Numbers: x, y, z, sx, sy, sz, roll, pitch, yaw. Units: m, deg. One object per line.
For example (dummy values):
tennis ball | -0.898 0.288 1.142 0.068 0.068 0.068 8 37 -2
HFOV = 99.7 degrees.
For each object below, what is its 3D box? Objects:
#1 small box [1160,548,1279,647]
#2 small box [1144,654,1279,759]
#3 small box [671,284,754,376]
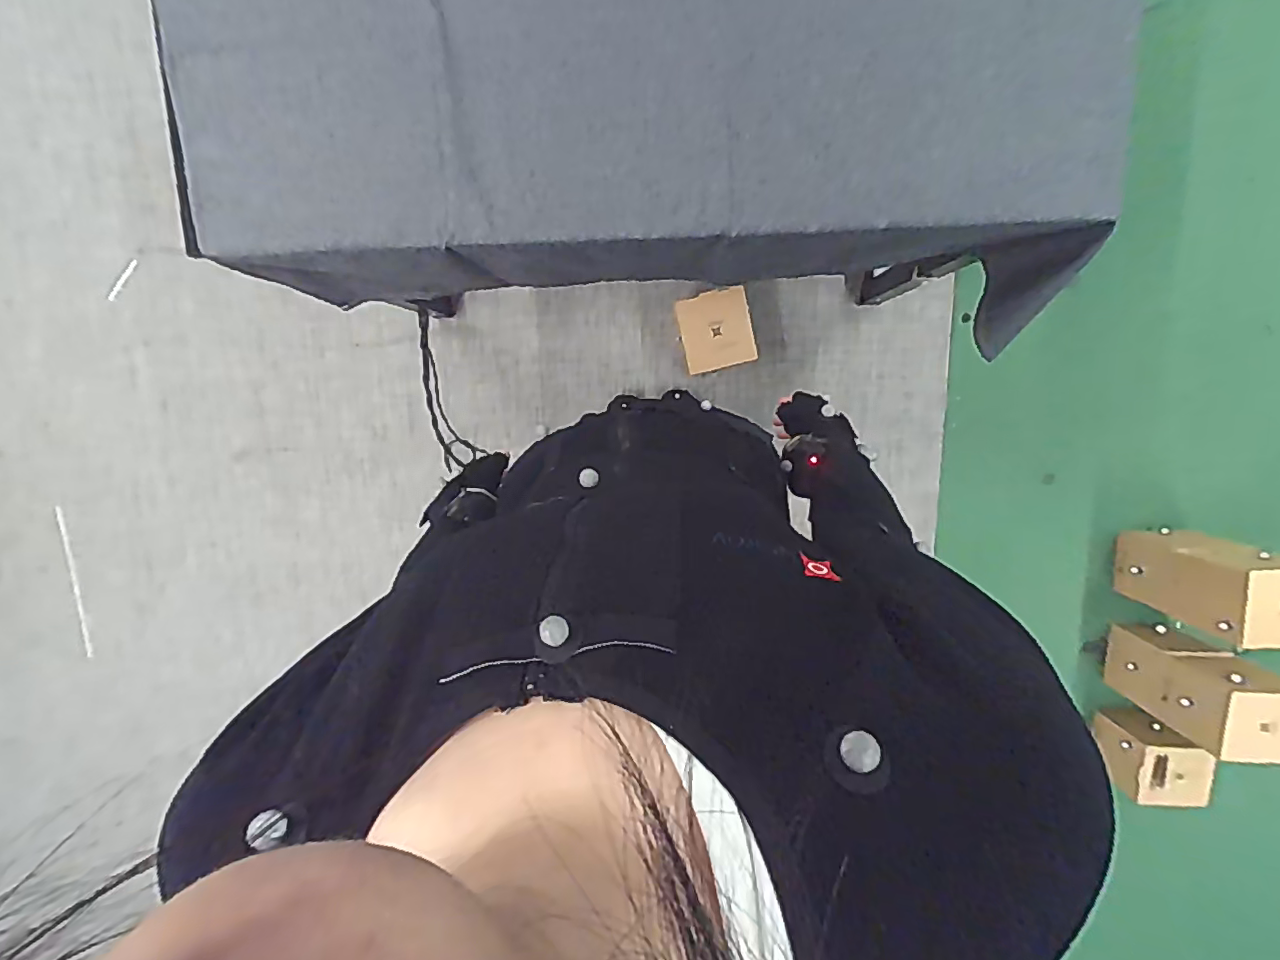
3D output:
small box | 1.338 0.257 1.222 0.168 0.176 0.179 -3 99 3
small box | 1.343 0.521 1.264 0.179 0.176 0.168 1 100 2
small box | 0.172 -0.362 1.336 0.168 0.176 0.179 -13 98 4
